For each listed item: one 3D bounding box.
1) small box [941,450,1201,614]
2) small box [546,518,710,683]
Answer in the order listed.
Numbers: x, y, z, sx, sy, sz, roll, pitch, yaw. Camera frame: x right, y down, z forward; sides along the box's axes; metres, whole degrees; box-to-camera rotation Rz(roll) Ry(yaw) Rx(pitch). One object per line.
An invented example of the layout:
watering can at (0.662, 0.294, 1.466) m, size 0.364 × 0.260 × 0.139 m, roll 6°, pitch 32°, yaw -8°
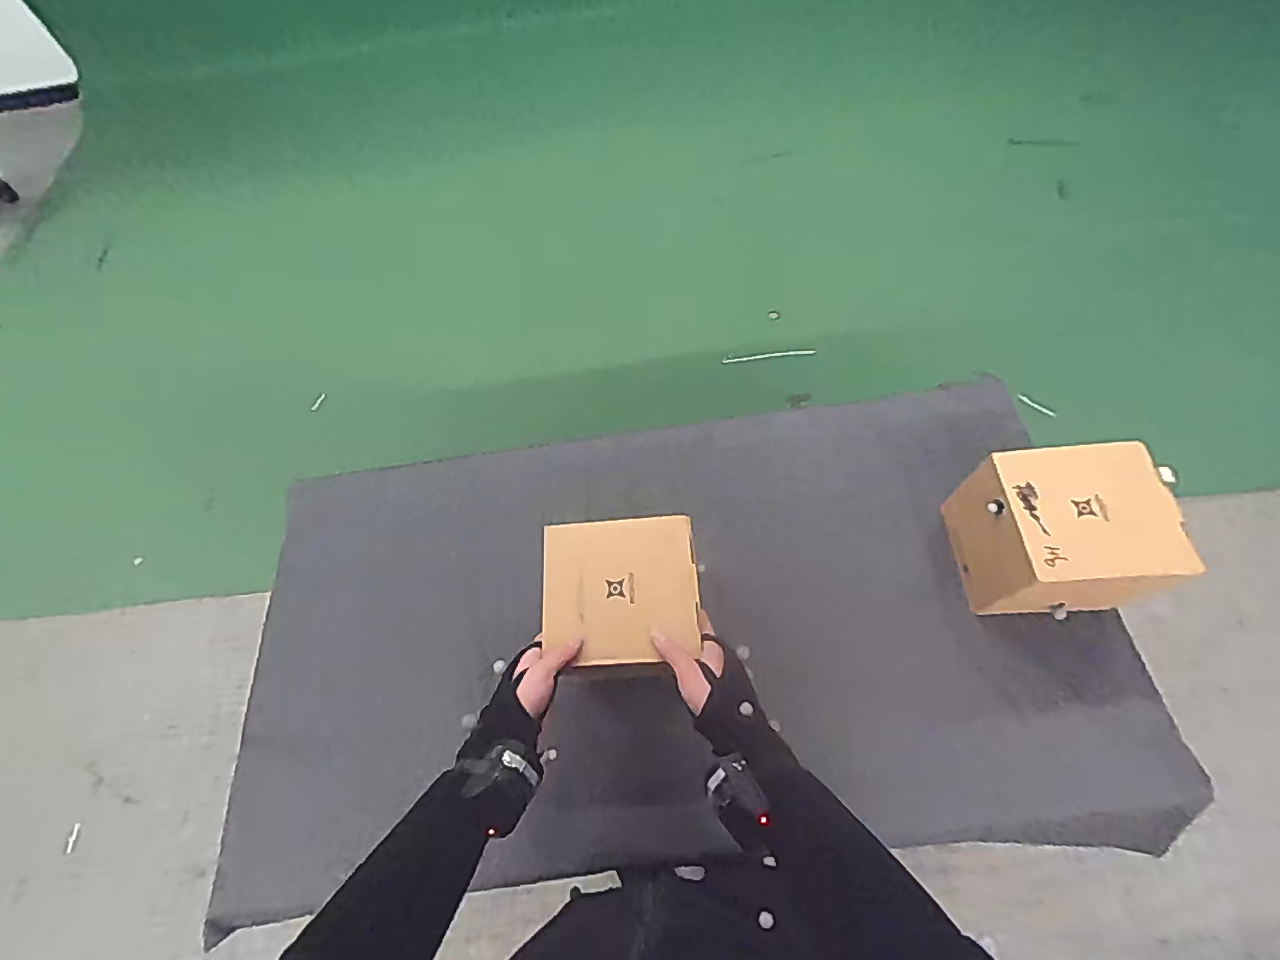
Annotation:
small box at (0.530, 0.074, 0.698) m, size 0.179 × 0.176 × 0.168 m, roll -3°, pitch 64°, yaw 3°
small box at (-0.011, 0.156, 0.670) m, size 0.179 × 0.176 × 0.168 m, roll -5°, pitch 65°, yaw 3°
